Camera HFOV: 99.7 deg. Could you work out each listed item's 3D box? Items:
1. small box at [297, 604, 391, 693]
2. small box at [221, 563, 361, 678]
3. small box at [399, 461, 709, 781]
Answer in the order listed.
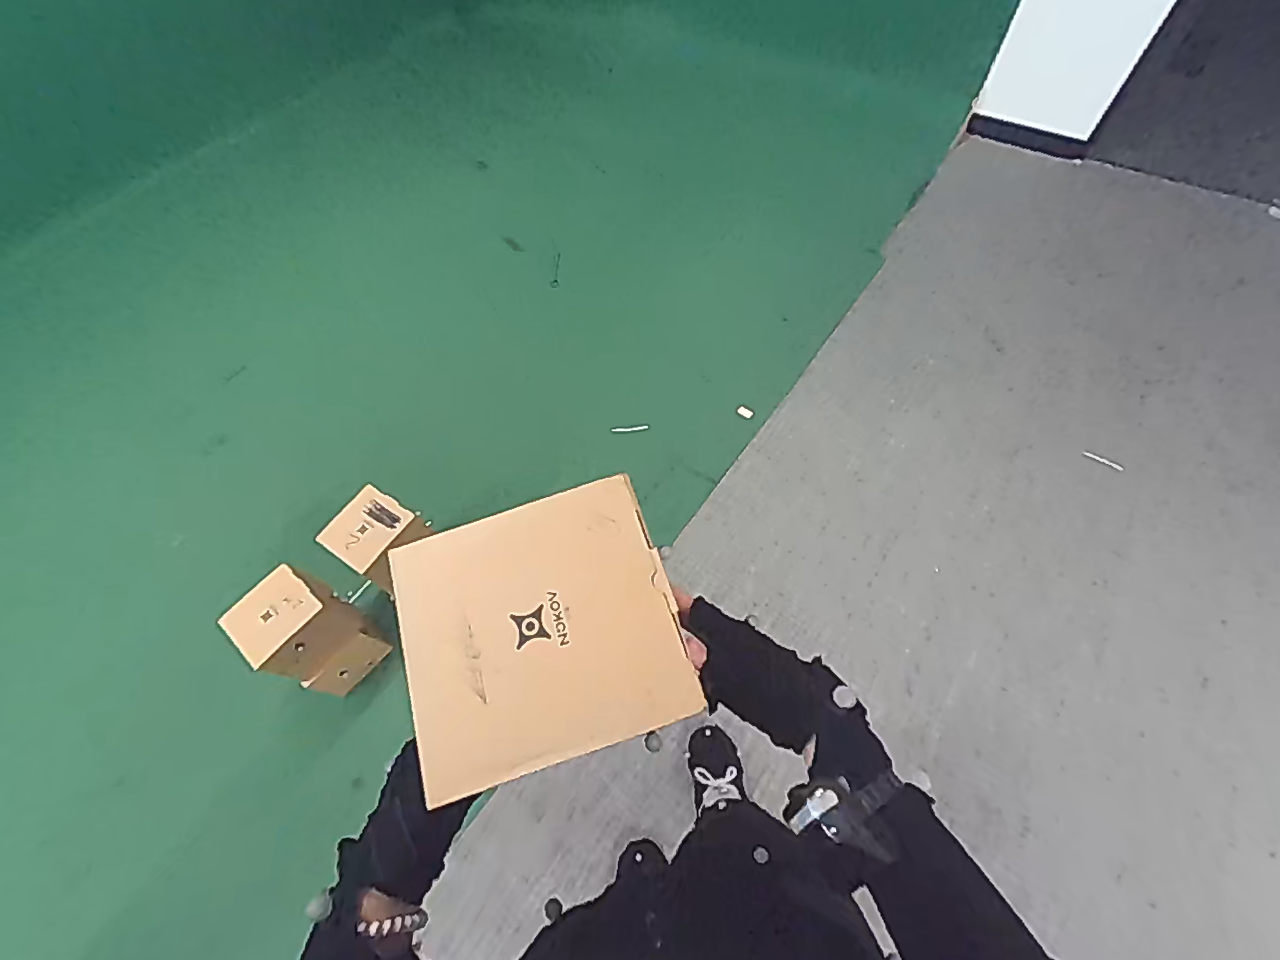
[{"bbox_3d":[-0.780,0.422,1.384,0.179,0.176,0.168,36,70,22],"label":"small box"},{"bbox_3d":[-0.794,0.330,1.247,0.168,0.176,0.179,35,69,21],"label":"small box"},{"bbox_3d":[-0.058,0.111,0.425,0.179,0.176,0.168,-18,67,-3],"label":"small box"}]
